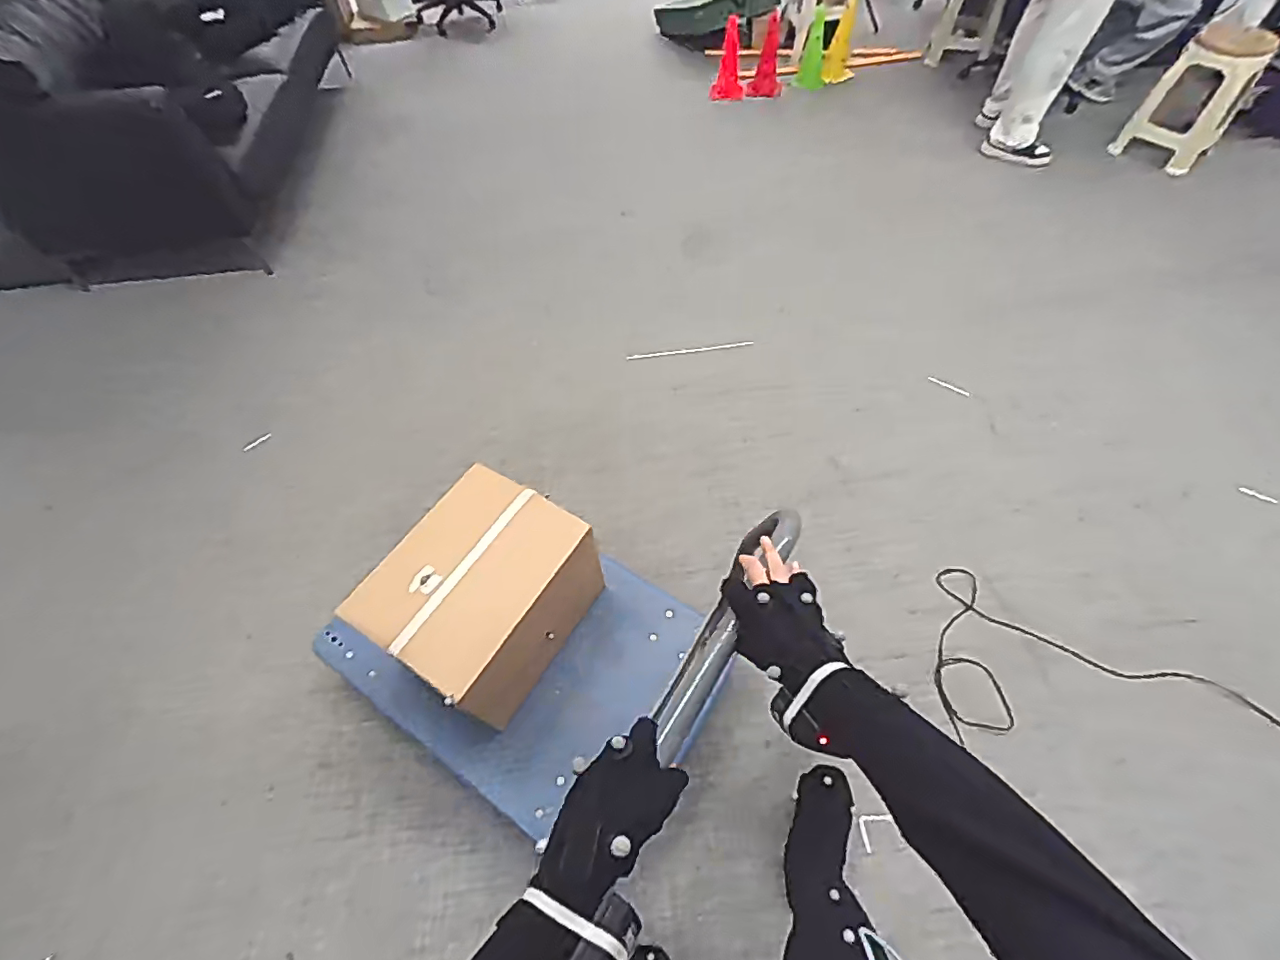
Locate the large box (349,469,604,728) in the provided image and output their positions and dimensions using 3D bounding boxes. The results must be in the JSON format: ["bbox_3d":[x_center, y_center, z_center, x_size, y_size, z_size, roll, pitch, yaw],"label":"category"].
[{"bbox_3d":[-0.317,0.260,1.186,0.320,0.320,0.408,26,62,18],"label":"large box"}]
